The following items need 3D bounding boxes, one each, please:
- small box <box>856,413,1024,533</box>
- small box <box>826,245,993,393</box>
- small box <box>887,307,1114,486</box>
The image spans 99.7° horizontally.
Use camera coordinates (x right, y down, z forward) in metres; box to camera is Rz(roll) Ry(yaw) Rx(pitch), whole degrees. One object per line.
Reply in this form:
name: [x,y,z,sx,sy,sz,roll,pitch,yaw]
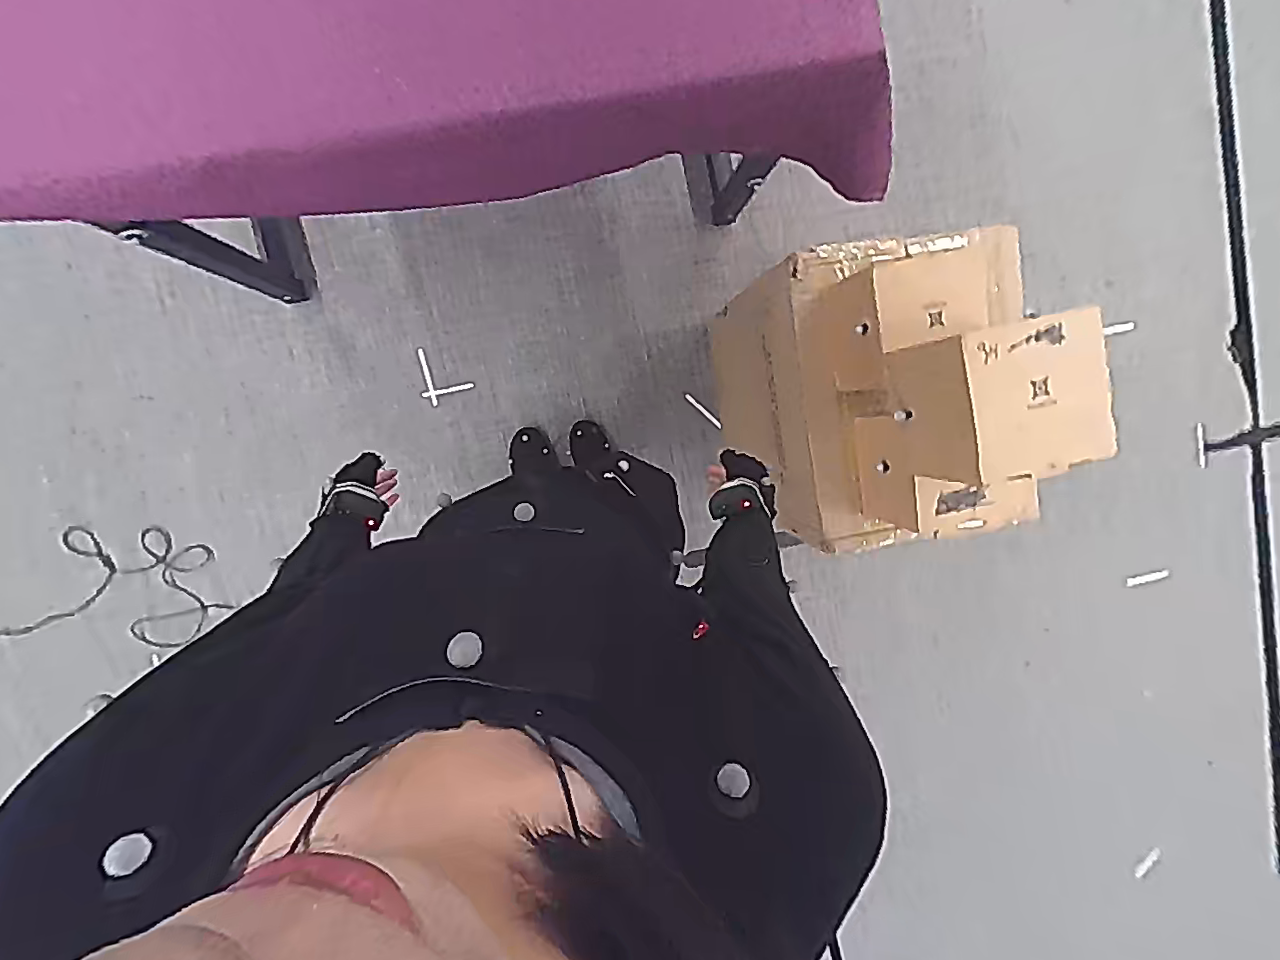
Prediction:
small box: [0.464,-0.024,0.857,0.168,0.176,0.179,-8,94,-4]
small box: [0.404,-0.236,0.831,0.168,0.176,0.179,-12,98,-3]
small box: [0.440,-0.101,0.684,0.168,0.176,0.179,-12,96,-3]
